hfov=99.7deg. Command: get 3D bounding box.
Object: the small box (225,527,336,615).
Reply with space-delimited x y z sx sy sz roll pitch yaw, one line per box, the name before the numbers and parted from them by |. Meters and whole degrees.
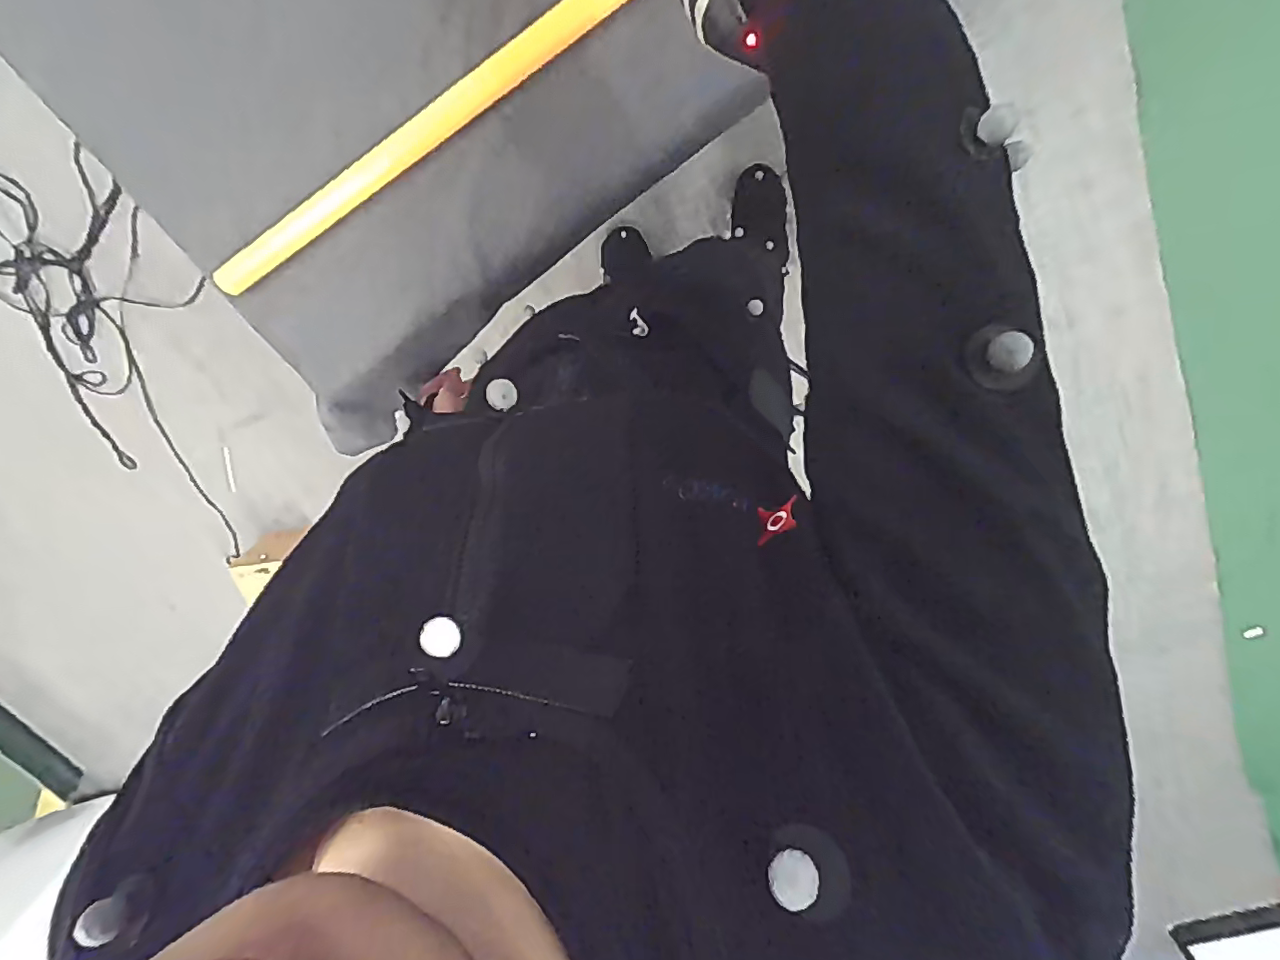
small box | -1.007 0.256 1.537 0.168 0.176 0.179 -7 117 6
